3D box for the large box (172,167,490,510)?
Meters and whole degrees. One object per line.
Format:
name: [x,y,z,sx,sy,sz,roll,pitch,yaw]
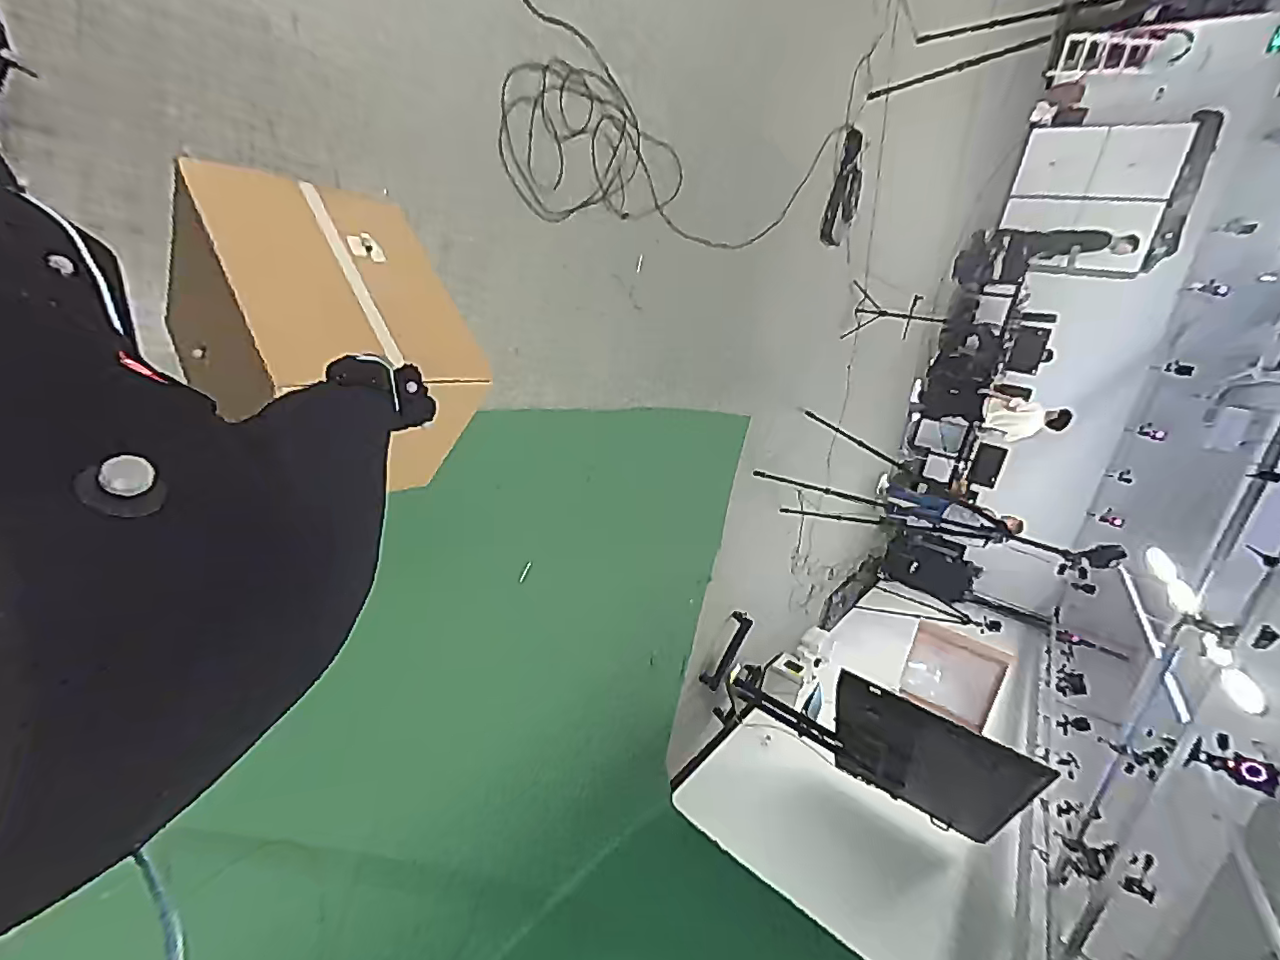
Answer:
large box: [-0.524,-0.218,0.903,0.320,0.408,0.320,-14,156,-50]
